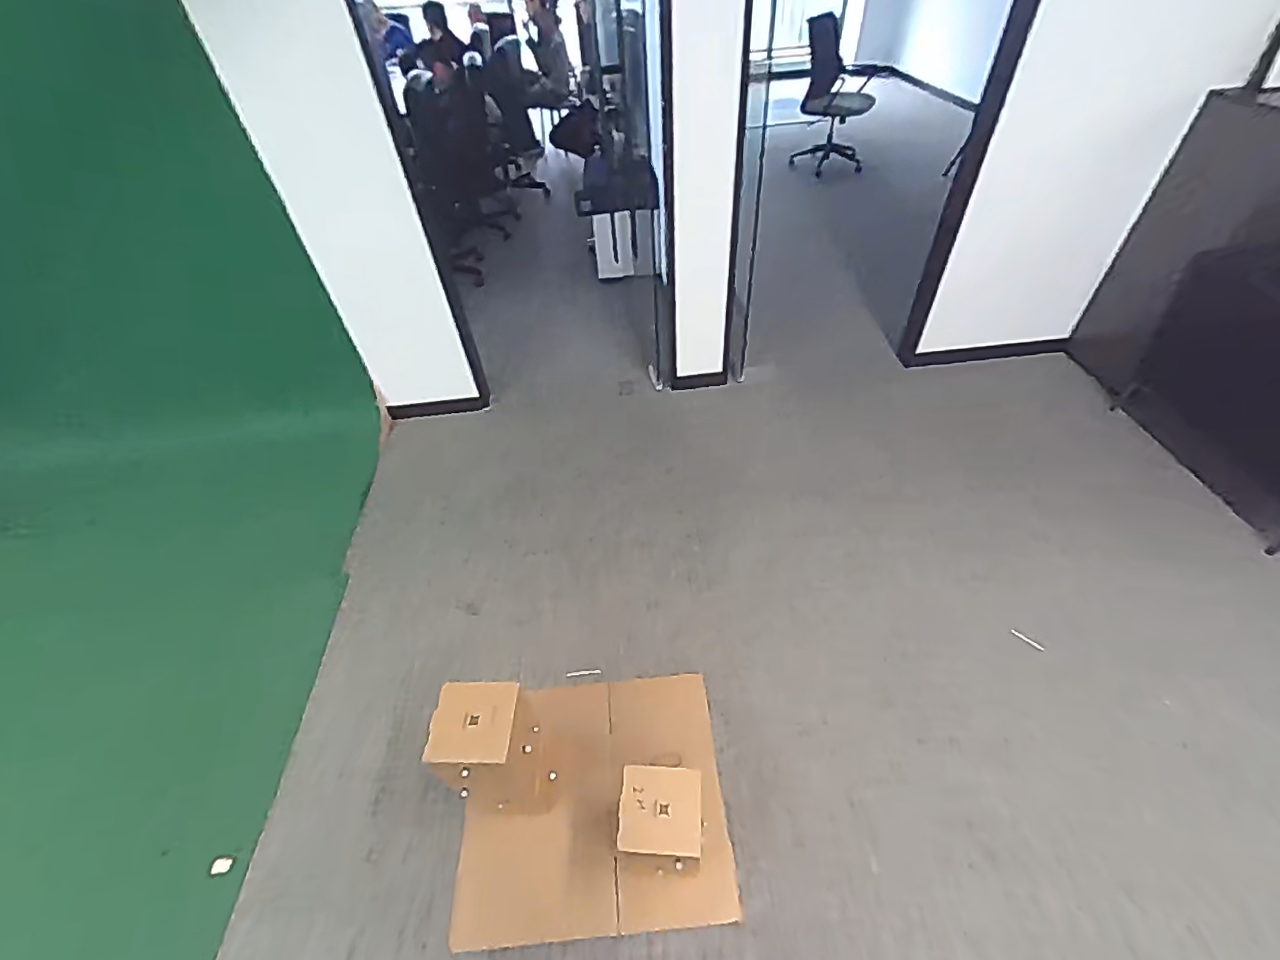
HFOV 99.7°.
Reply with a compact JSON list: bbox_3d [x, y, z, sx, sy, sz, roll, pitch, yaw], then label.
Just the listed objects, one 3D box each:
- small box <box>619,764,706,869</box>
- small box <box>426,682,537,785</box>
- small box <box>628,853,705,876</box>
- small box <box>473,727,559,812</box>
[{"bbox_3d":[0.056,0.755,1.210,0.179,0.176,0.168,1,46,7],"label":"small box"},{"bbox_3d":[-0.341,0.564,1.201,0.179,0.176,0.168,0,47,4],"label":"small box"},{"bbox_3d":[0.067,0.863,1.335,0.179,0.176,0.168,-2,46,4],"label":"small box"},{"bbox_3d":[-0.324,0.778,1.448,0.179,0.176,0.168,-2,46,2],"label":"small box"}]
